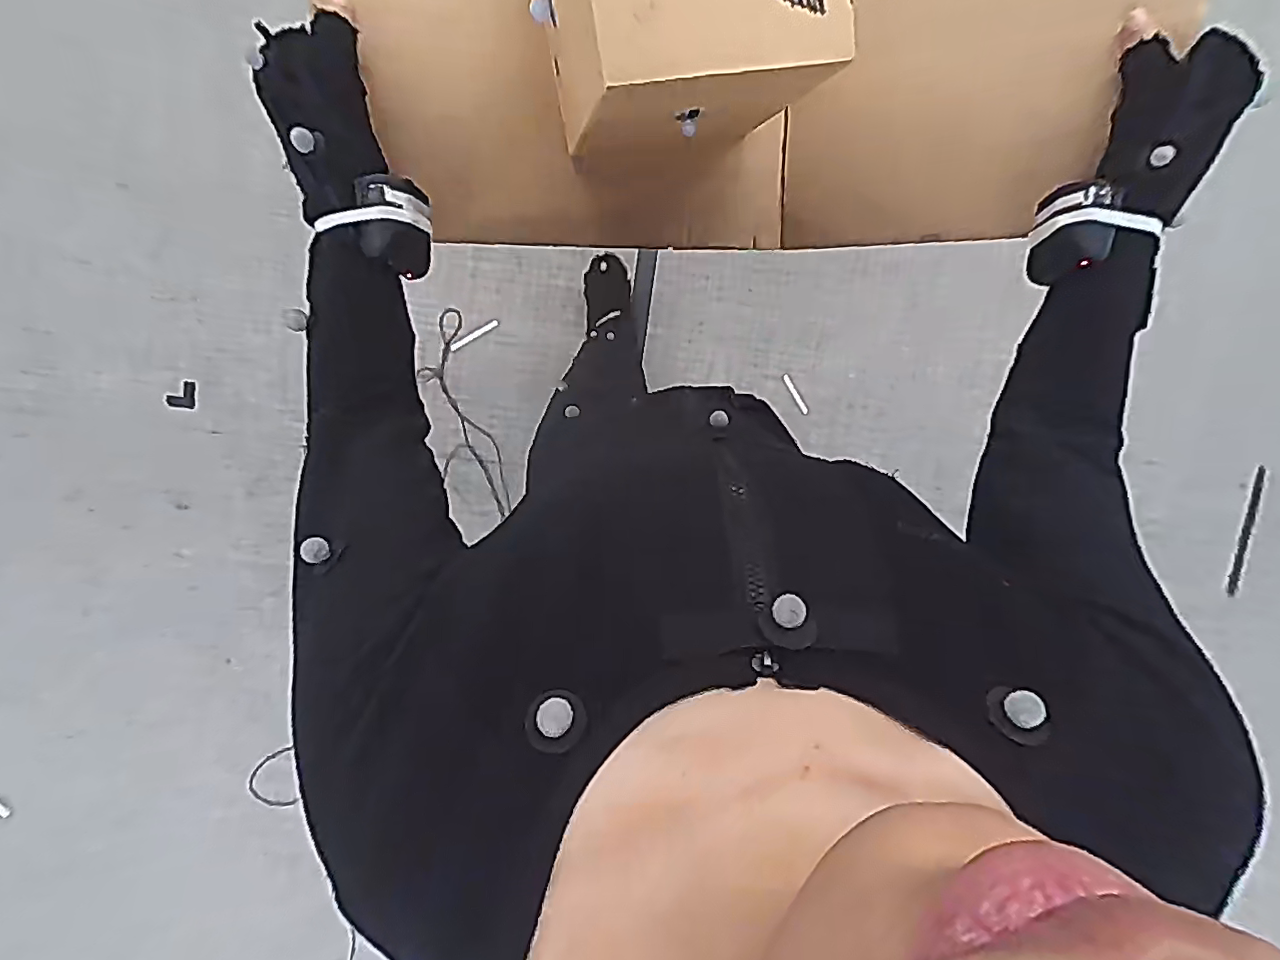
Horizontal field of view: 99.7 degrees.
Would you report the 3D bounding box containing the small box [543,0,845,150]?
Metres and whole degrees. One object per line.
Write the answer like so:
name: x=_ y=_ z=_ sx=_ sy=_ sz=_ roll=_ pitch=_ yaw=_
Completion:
small box: x=0.027 y=-0.367 z=0.403 sx=0.179 sy=0.176 sz=0.168 roll=-14 pitch=110 yaw=-10
